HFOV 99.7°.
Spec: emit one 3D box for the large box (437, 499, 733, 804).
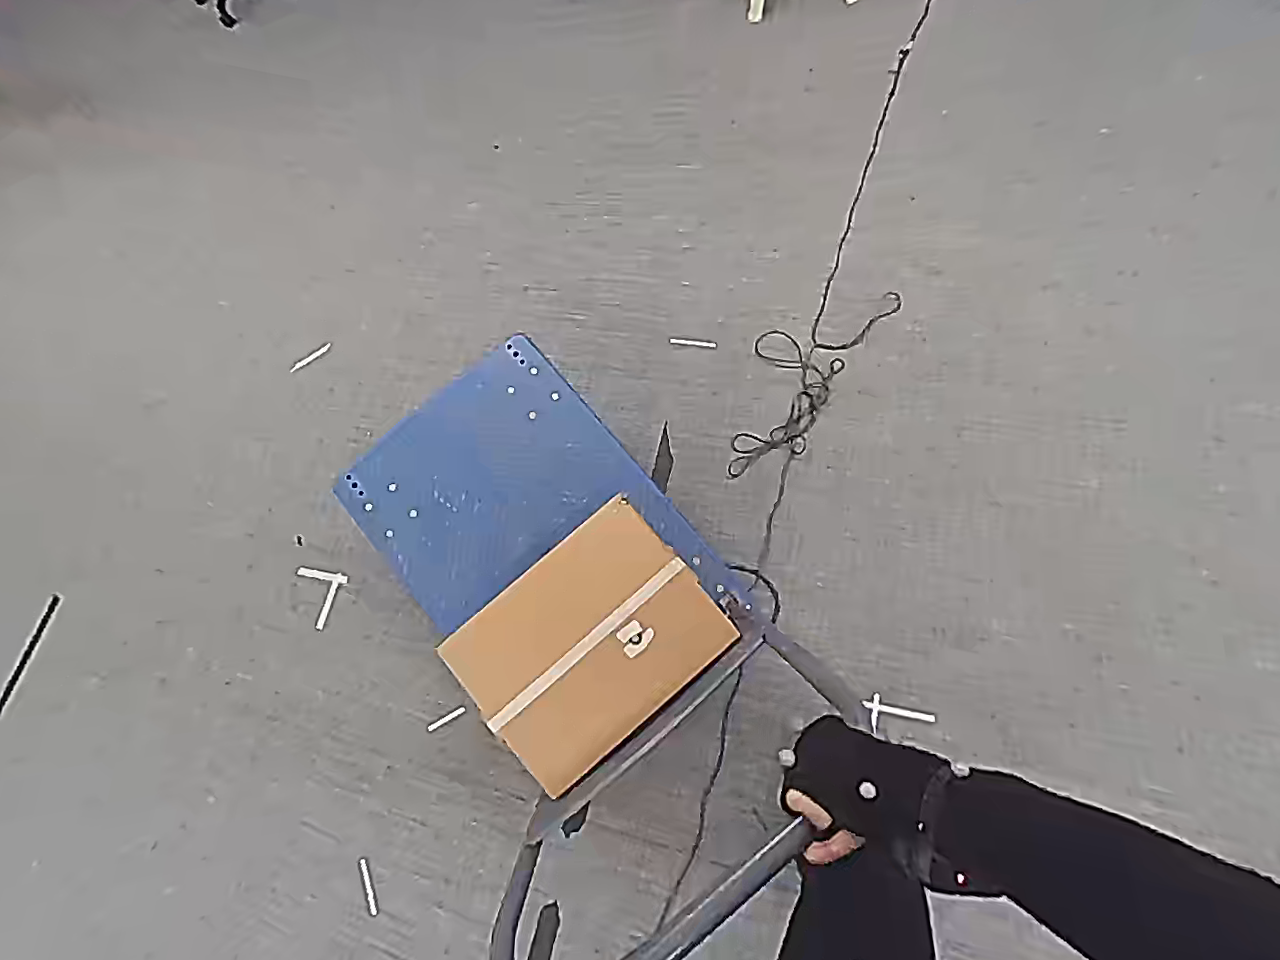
[{"bbox_3d":[-0.089,0.295,1.032,0.408,0.320,0.320,-41,84,-5],"label":"large box"}]
